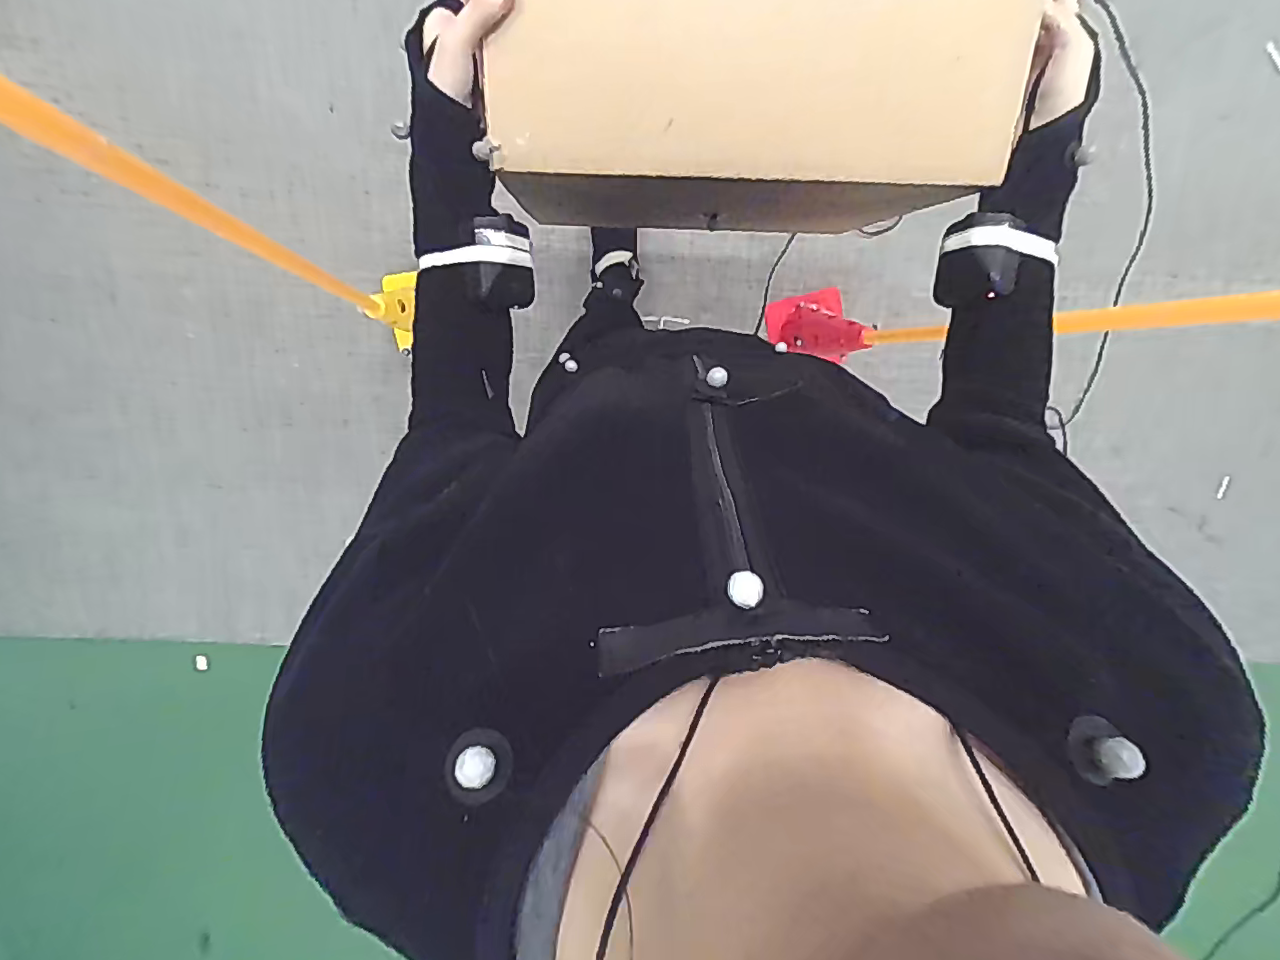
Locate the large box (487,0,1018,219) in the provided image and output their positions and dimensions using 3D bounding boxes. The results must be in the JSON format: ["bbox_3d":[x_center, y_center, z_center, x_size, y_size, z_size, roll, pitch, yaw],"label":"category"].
[{"bbox_3d":[0.082,-0.440,0.526,0.408,0.320,0.320,0,108,-3],"label":"large box"}]
